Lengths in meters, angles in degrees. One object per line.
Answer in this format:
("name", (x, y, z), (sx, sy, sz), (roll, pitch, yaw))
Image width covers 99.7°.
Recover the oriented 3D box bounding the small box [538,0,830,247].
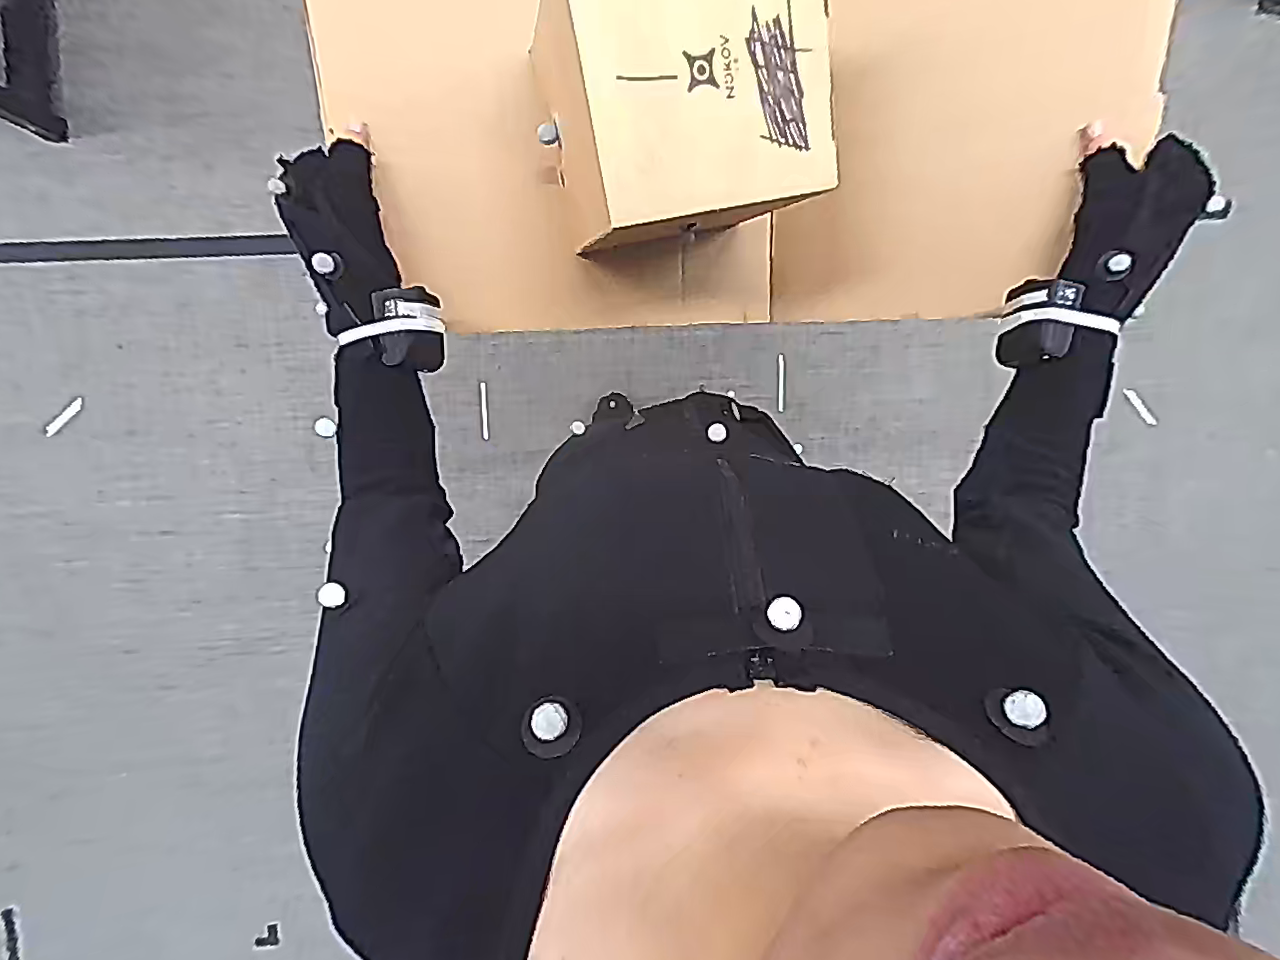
("small box", (0.026, -0.295, 0.435), (0.179, 0.176, 0.168), (-15, 110, -10))
